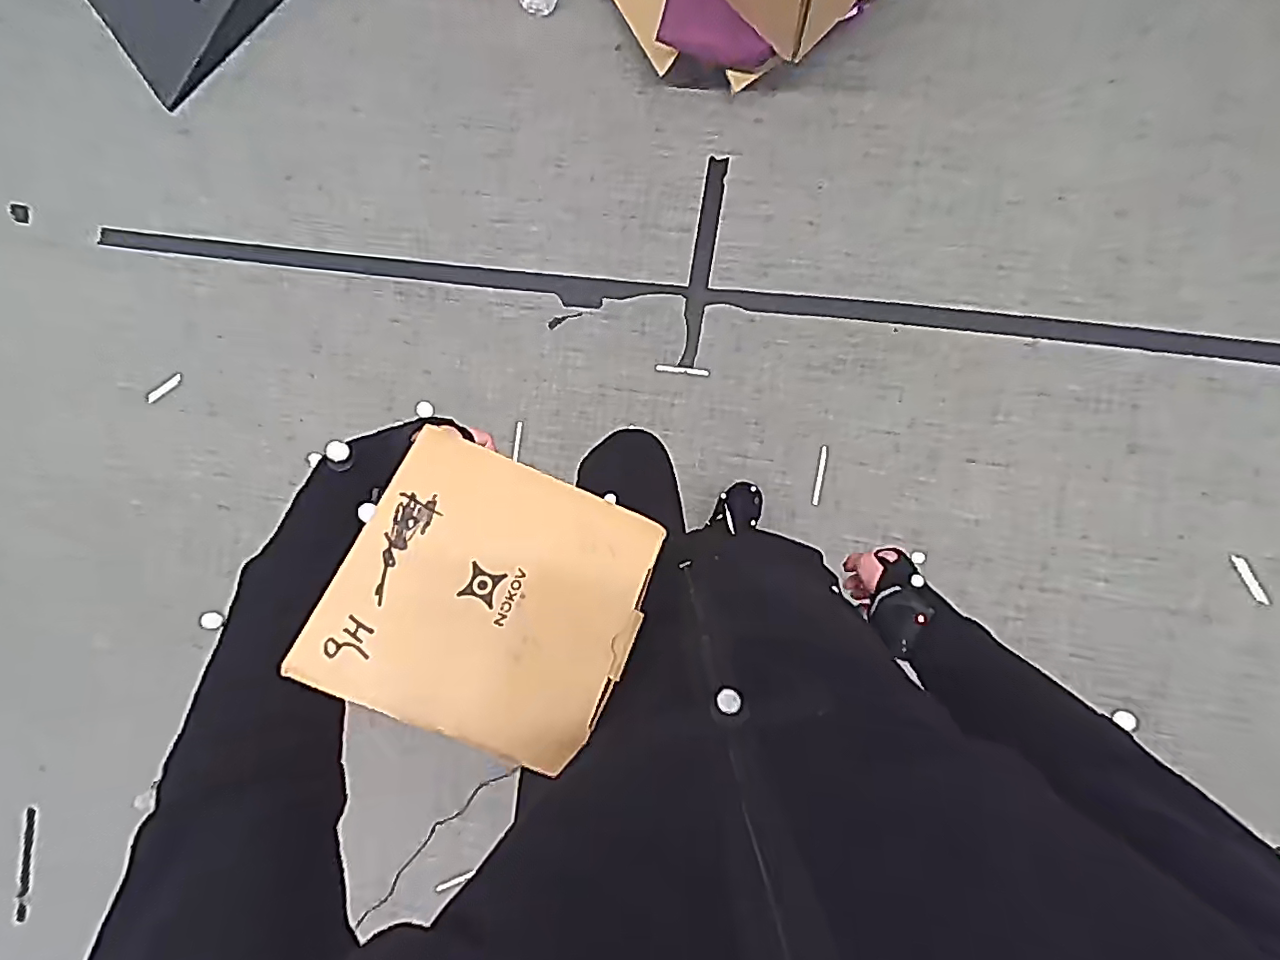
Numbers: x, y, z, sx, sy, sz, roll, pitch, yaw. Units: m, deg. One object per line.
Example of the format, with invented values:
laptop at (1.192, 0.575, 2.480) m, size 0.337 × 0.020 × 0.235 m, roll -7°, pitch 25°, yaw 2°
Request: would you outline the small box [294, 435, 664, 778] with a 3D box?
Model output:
small box at (-0.108, 0.096, 0.413) m, size 0.179 × 0.176 × 0.168 m, roll 24°, pitch 68°, yaw -7°
